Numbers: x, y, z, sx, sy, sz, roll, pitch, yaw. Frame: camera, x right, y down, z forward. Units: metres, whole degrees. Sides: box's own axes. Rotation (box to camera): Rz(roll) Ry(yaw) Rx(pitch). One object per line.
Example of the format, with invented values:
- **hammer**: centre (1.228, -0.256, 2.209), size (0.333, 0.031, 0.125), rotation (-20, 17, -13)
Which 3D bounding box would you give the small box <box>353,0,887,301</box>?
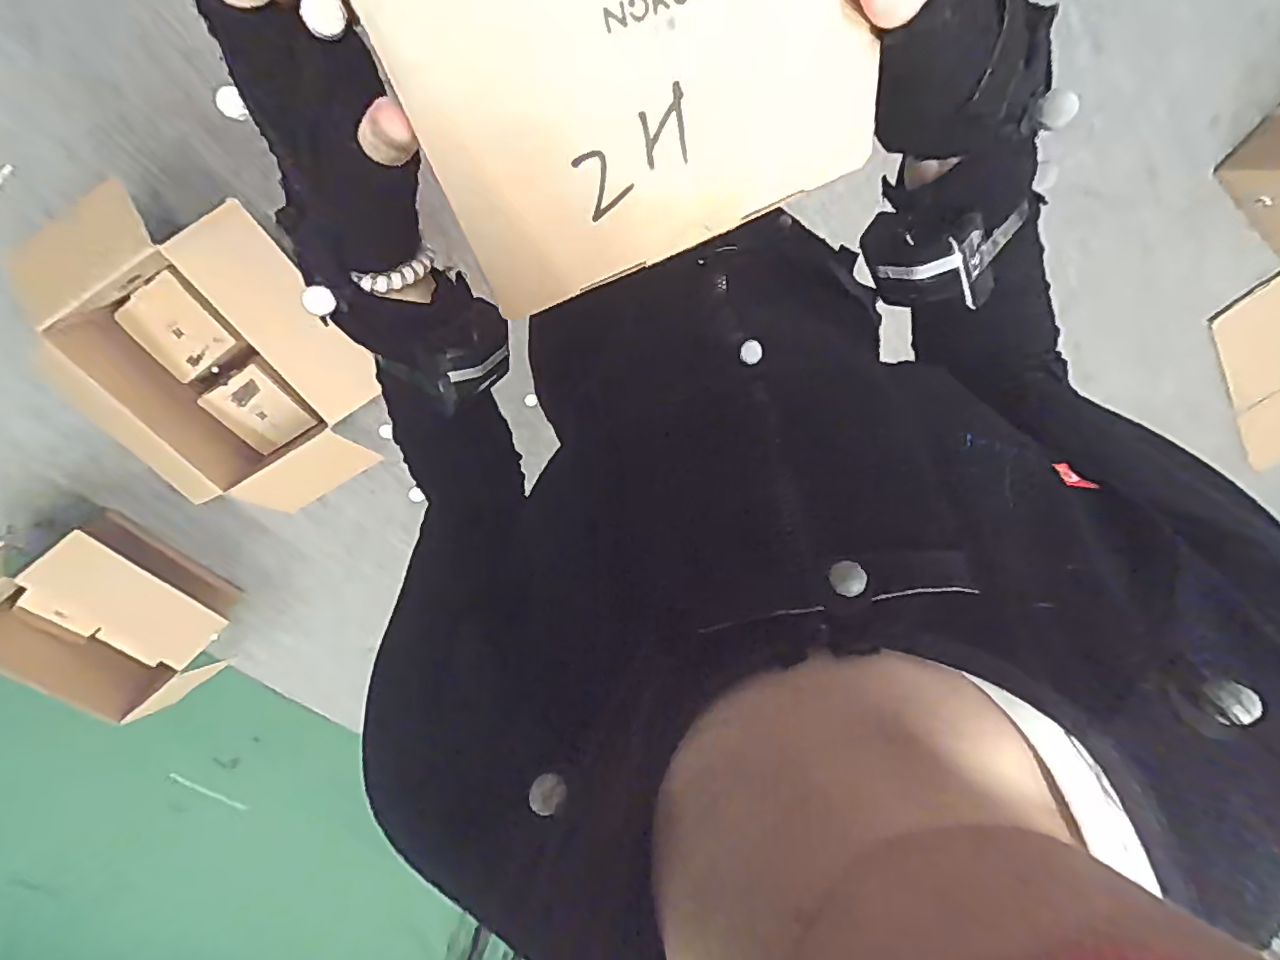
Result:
- **small box**: centre (-0.028, -0.207, 0.206), size (0.168, 0.176, 0.179), rotation (-26, 138, -5)
